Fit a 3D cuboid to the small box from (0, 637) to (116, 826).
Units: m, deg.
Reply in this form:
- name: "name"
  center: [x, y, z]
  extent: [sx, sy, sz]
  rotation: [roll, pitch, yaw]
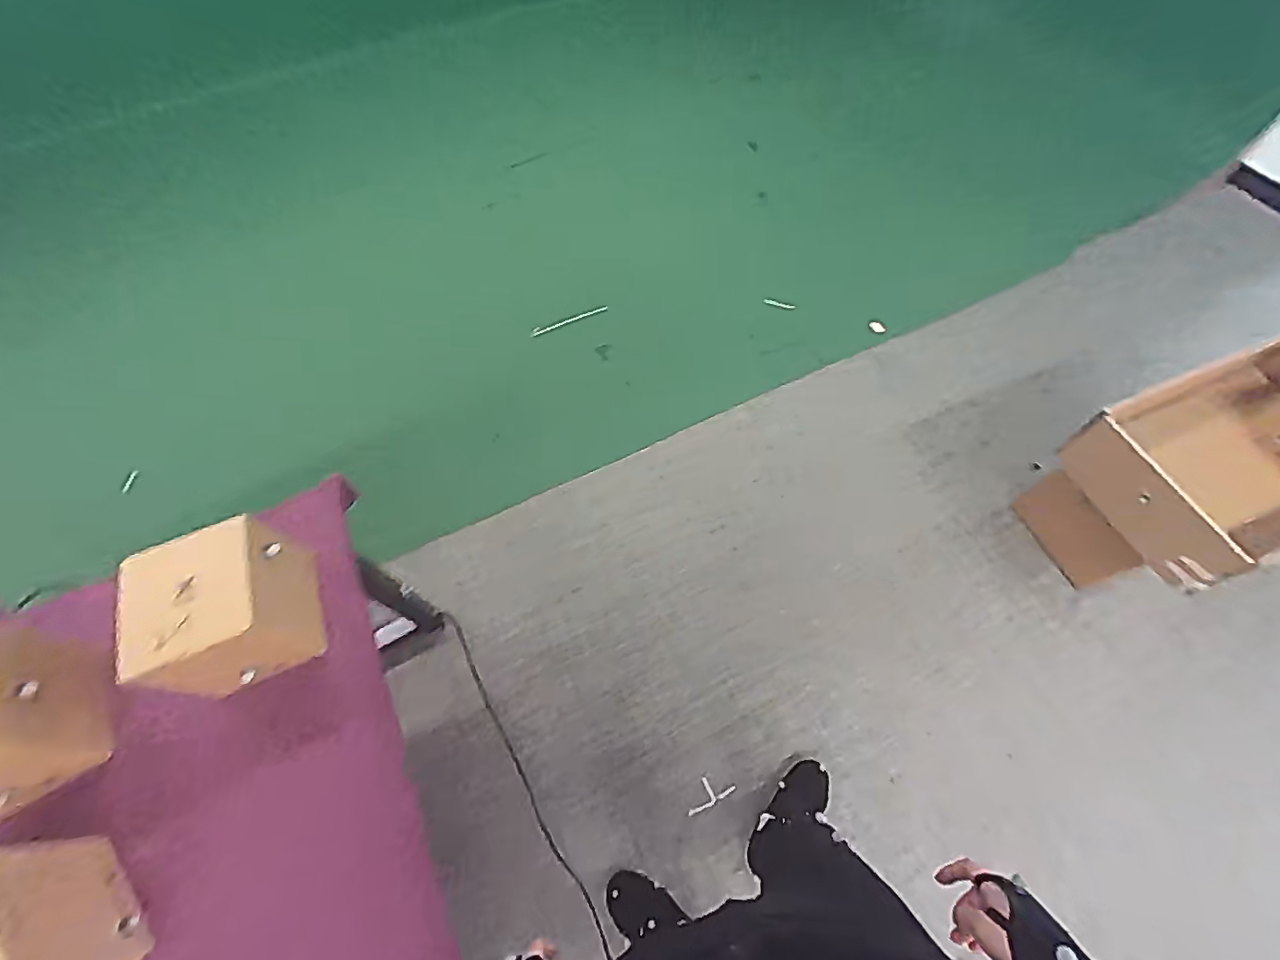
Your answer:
- name: "small box"
  center: [-0.865, 0.341, 0.722]
  extent: [0.168, 0.176, 0.179]
  rotation: [-30, 66, -13]

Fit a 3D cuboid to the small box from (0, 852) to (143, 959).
- name: "small box"
  center: [-0.714, 0.557, 0.599]
  extent: [0.168, 0.176, 0.179]
  rotation: [40, 71, 21]

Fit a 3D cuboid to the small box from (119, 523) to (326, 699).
- name: "small box"
  center: [-0.587, 0.194, 0.779]
  extent: [0.168, 0.176, 0.179]
  rotation: [-23, 64, -7]
